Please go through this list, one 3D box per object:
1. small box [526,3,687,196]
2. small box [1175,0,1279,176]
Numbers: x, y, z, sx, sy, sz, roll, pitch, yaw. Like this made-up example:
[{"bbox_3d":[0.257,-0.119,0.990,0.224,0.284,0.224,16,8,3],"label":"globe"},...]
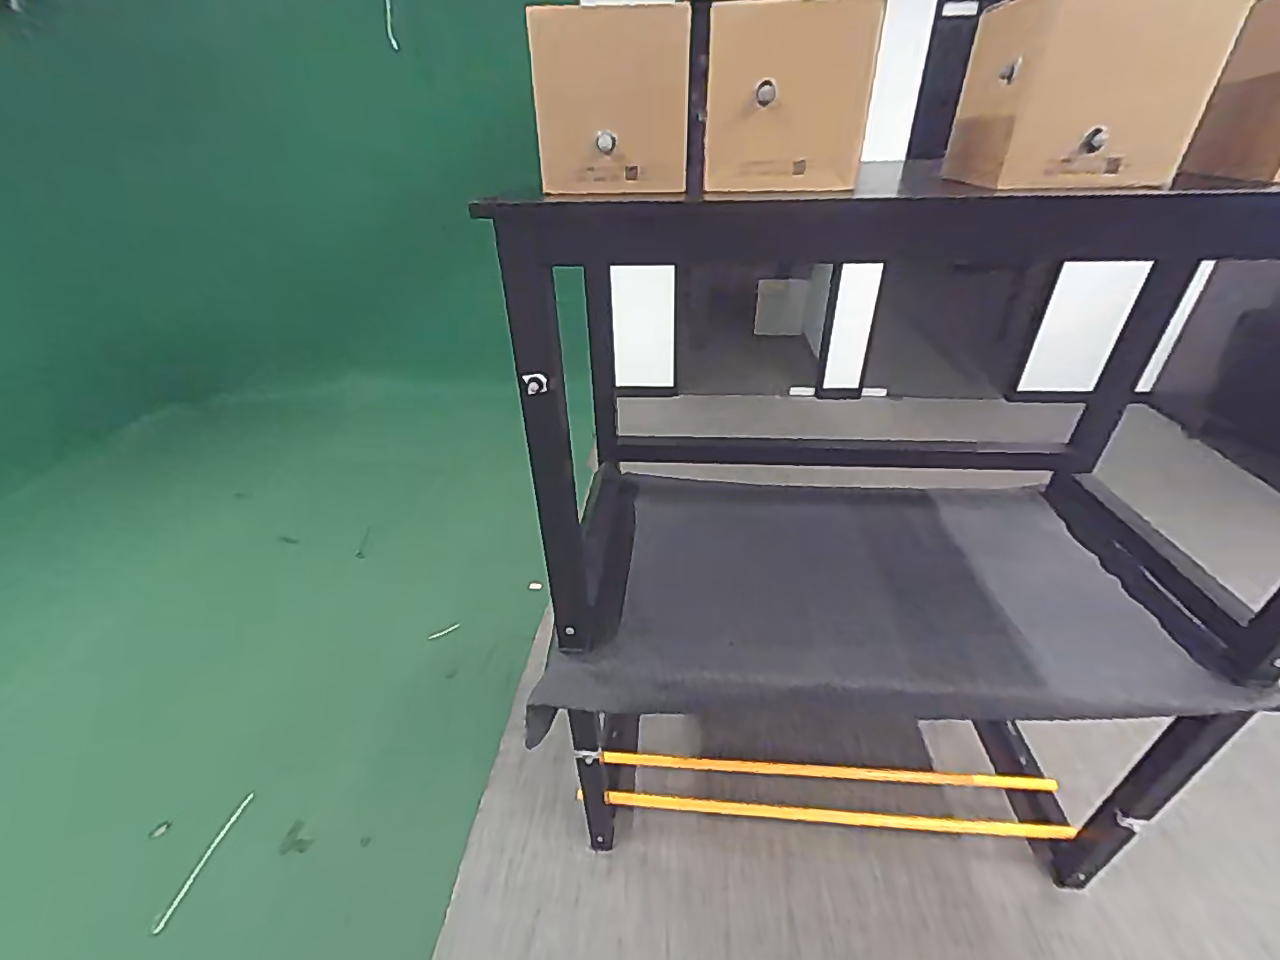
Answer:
[{"bbox_3d":[-0.029,-0.446,0.649,0.168,0.176,0.179,1,34,3],"label":"small box"},{"bbox_3d":[0.728,-0.412,0.558,0.168,0.176,0.179,6,33,12],"label":"small box"}]
